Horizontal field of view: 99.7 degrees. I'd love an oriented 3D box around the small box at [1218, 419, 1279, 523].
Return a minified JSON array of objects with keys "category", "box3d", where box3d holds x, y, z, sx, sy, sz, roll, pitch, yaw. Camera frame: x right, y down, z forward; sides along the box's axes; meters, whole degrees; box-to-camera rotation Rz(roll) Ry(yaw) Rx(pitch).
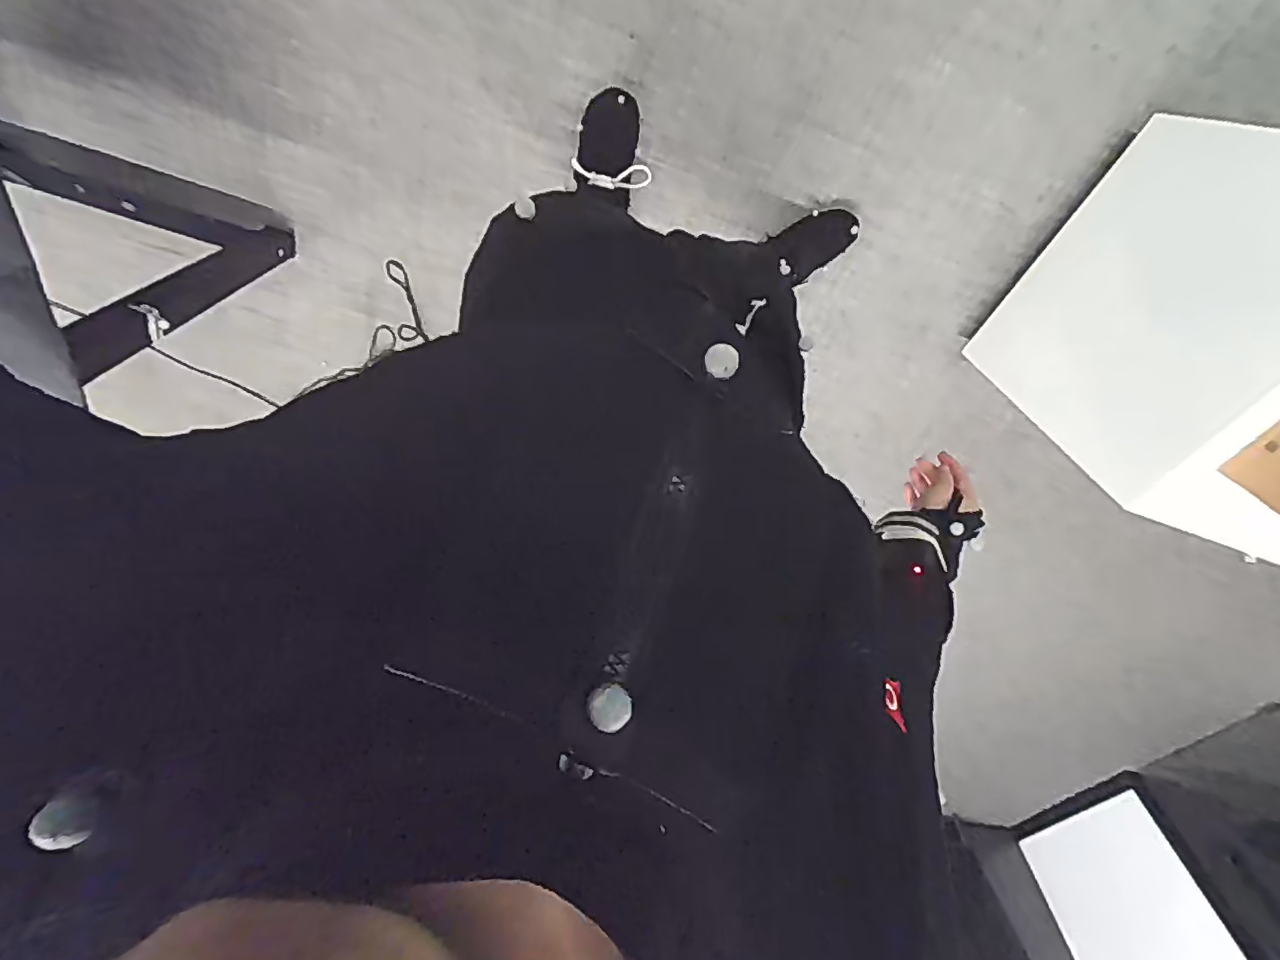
[{"category":"small box","box3d":[0.952,0.001,0.705,0.179,0.176,0.168,15,128,-12]}]
